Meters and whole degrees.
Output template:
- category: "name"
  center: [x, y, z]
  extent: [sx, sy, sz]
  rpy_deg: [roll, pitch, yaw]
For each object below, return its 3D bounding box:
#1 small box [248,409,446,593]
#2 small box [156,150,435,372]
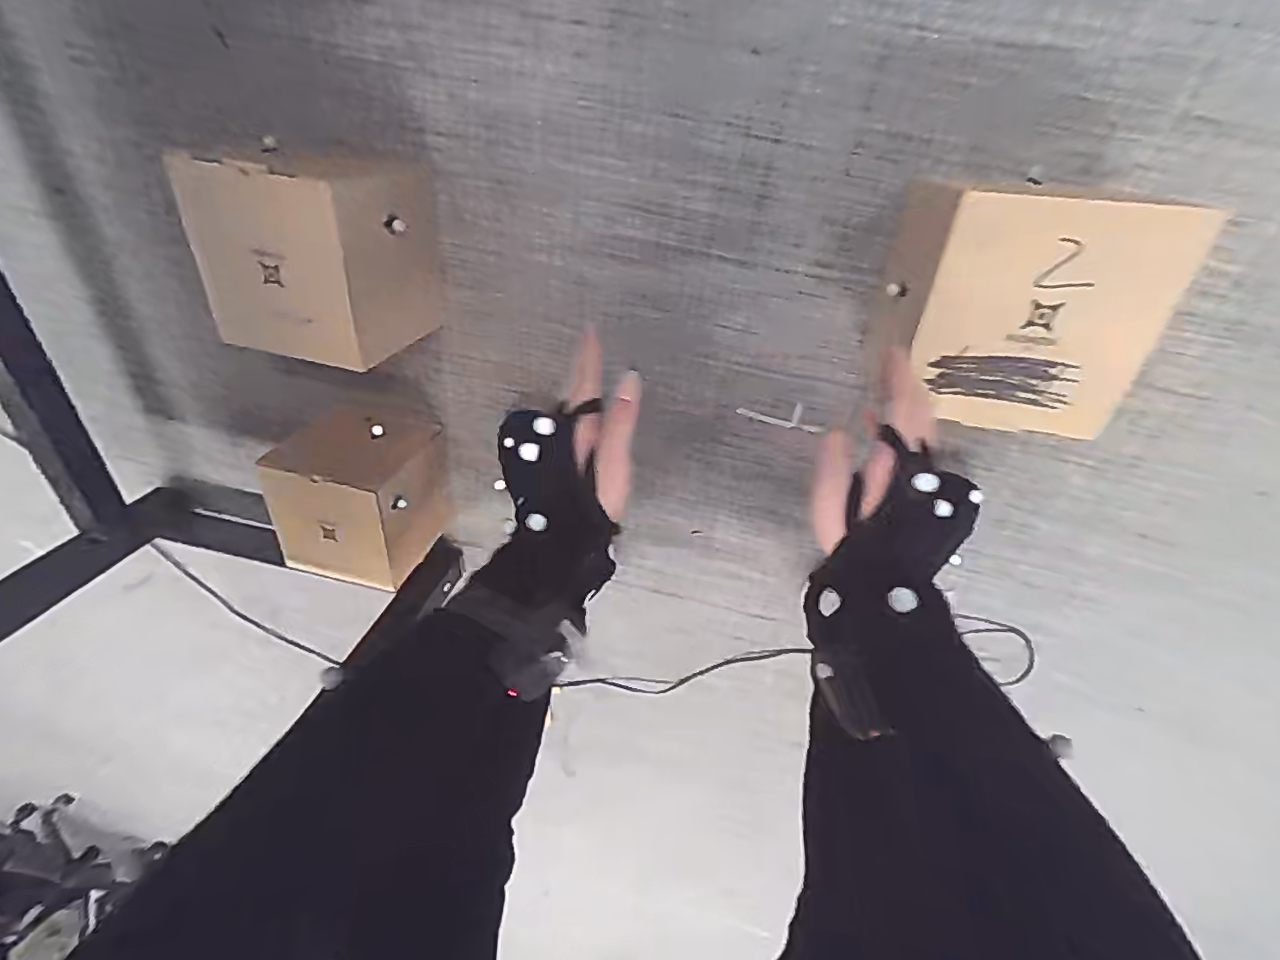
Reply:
- category: "small box"
  center: [-0.390, 0.023, 0.759]
  extent: [0.168, 0.176, 0.179]
  rpy_deg: [12, 124, 6]
- category: "small box"
  center: [-0.340, -0.240, 0.576]
  extent: [0.168, 0.176, 0.179]
  rpy_deg: [13, 124, 6]
